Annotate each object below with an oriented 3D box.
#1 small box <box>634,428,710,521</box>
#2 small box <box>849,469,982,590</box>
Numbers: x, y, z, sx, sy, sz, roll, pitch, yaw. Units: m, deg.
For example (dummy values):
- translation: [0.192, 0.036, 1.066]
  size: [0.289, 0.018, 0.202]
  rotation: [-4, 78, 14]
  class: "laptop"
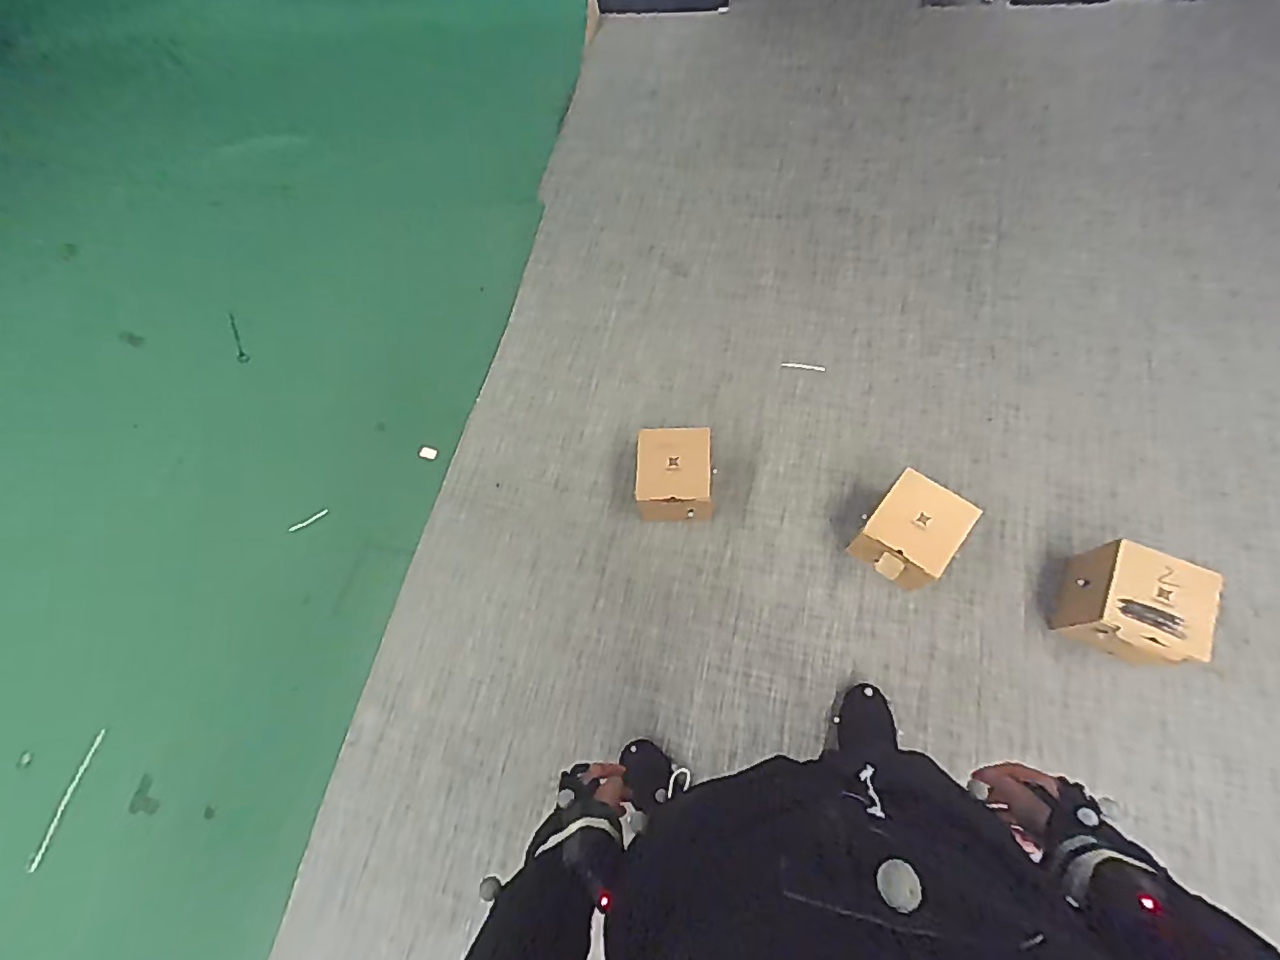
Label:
- translation: [0.081, -0.006, 1.270]
  size: [0.168, 0.176, 0.179]
  rotation: [0, 68, 7]
  class: "small box"
- translation: [0.574, 0.111, 1.153]
  size: [0.168, 0.176, 0.179]
  rotation: [36, 79, 18]
  class: "small box"
